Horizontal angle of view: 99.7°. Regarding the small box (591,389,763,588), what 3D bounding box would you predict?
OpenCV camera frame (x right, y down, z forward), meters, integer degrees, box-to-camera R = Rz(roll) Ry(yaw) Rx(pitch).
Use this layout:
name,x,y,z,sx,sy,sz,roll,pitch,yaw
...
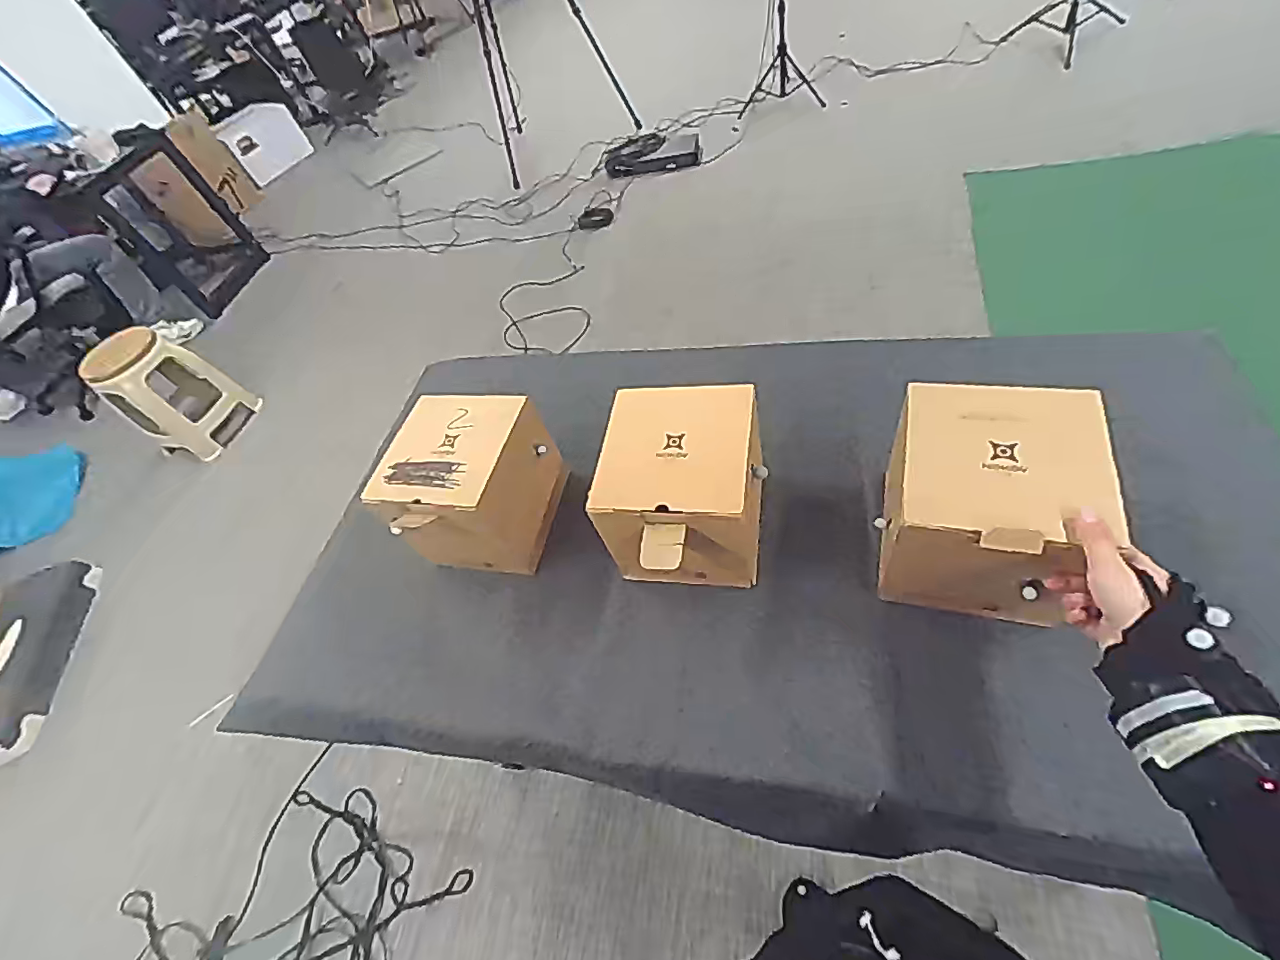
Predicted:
name,x,y,z,sx,sy,sz,roll,pitch,yaw
small box,0.058,0.010,0.651,0.168,0.176,0.179,1,56,17

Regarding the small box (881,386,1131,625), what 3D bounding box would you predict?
name,x,y,z,sx,sy,sz,roll,pitch,yaw
small box,0.349,0.028,0.553,0.168,0.176,0.179,7,56,19
